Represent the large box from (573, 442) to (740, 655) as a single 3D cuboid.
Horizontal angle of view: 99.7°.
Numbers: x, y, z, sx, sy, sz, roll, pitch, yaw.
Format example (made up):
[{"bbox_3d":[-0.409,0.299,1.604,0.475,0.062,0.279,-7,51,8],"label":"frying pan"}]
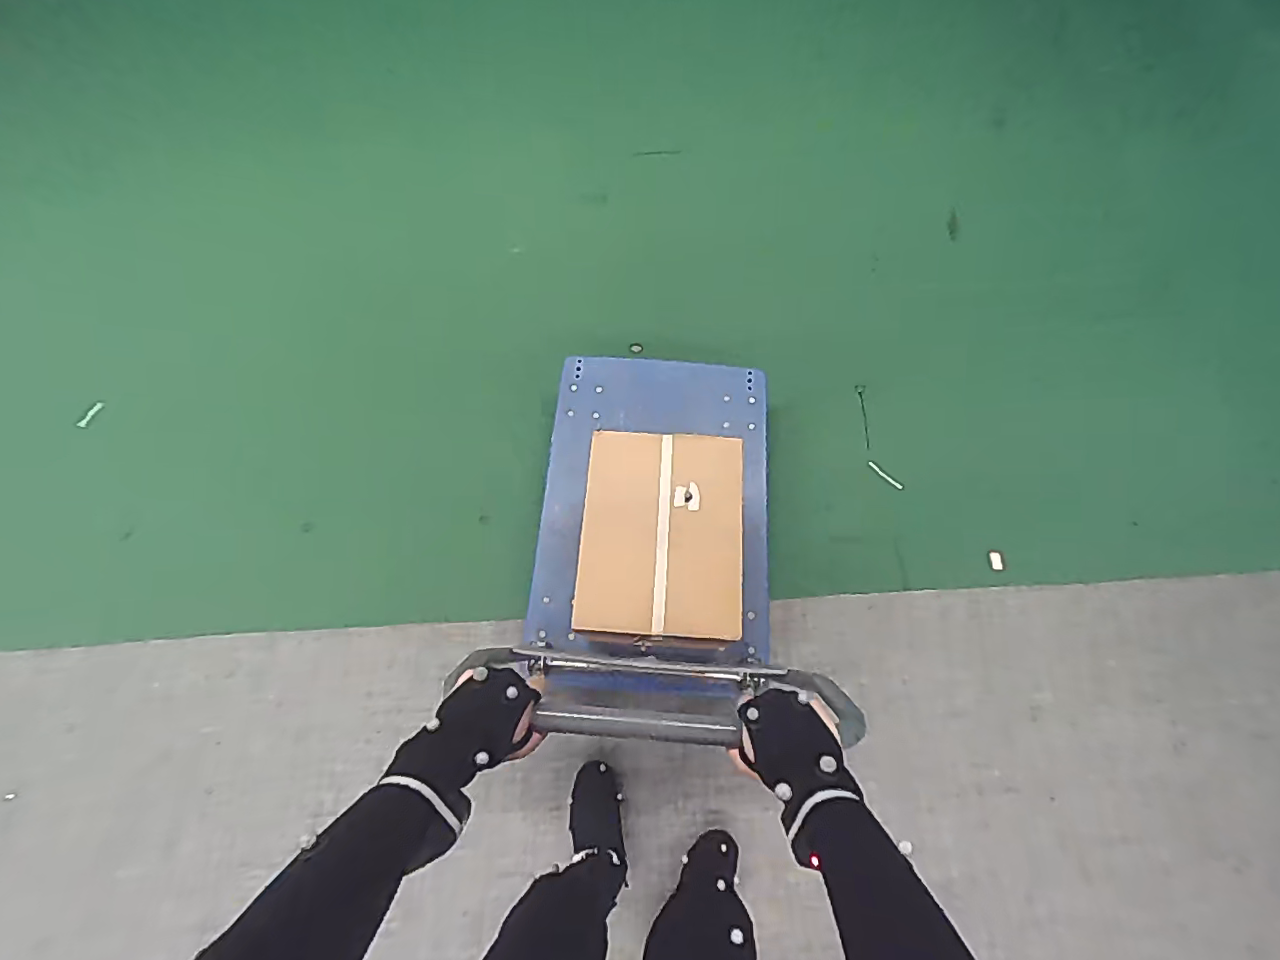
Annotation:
[{"bbox_3d":[0.041,0.166,1.201,0.320,0.320,0.408,4,69,1],"label":"large box"}]
